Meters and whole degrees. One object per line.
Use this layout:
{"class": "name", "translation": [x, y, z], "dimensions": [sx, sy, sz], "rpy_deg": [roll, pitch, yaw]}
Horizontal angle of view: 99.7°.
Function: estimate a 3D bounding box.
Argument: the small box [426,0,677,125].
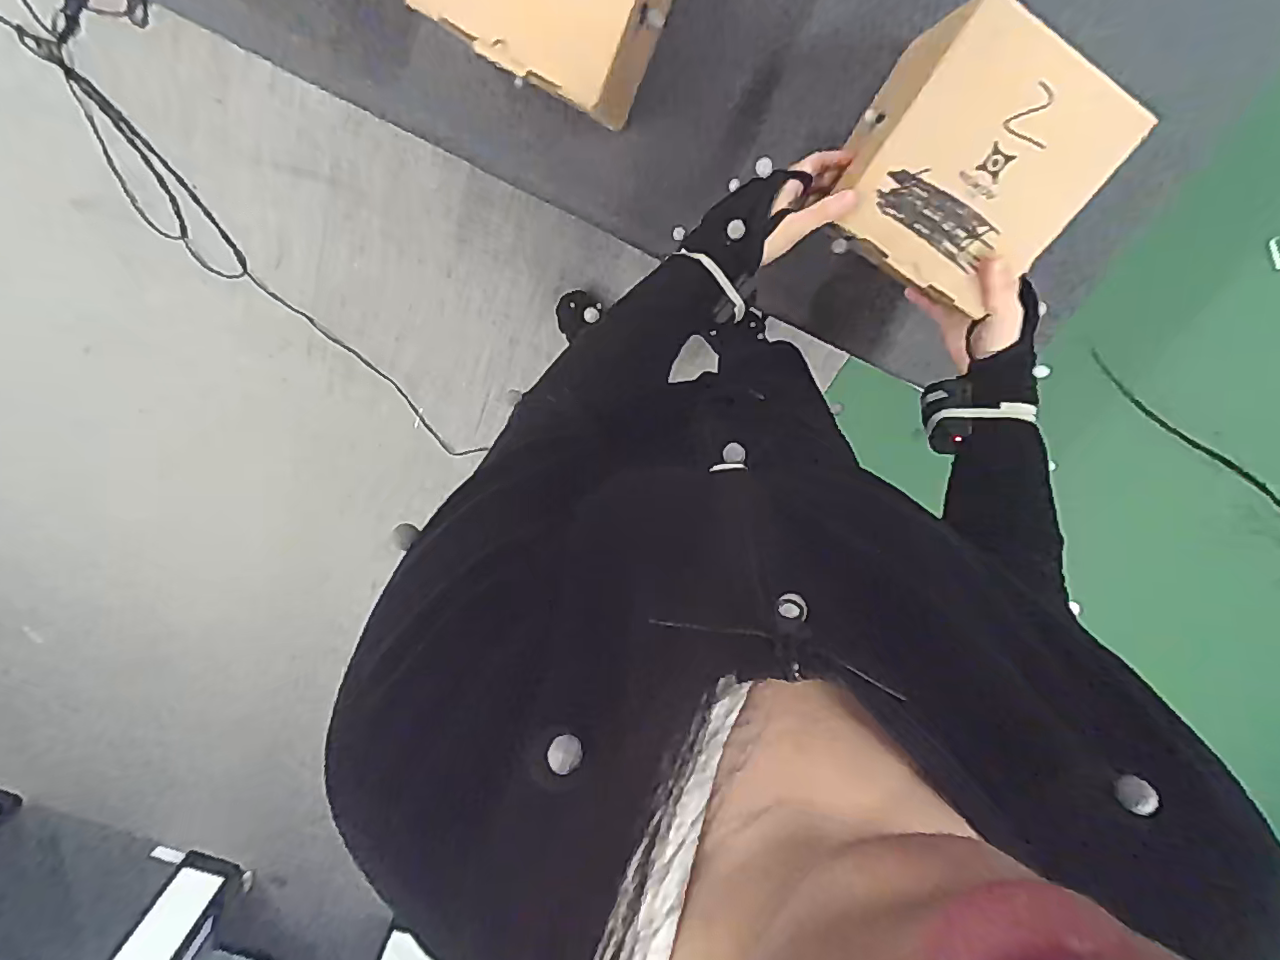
{"class": "small box", "translation": [-0.057, -0.433, 0.449], "dimensions": [0.168, 0.176, 0.179], "rpy_deg": [26, 117, -9]}
